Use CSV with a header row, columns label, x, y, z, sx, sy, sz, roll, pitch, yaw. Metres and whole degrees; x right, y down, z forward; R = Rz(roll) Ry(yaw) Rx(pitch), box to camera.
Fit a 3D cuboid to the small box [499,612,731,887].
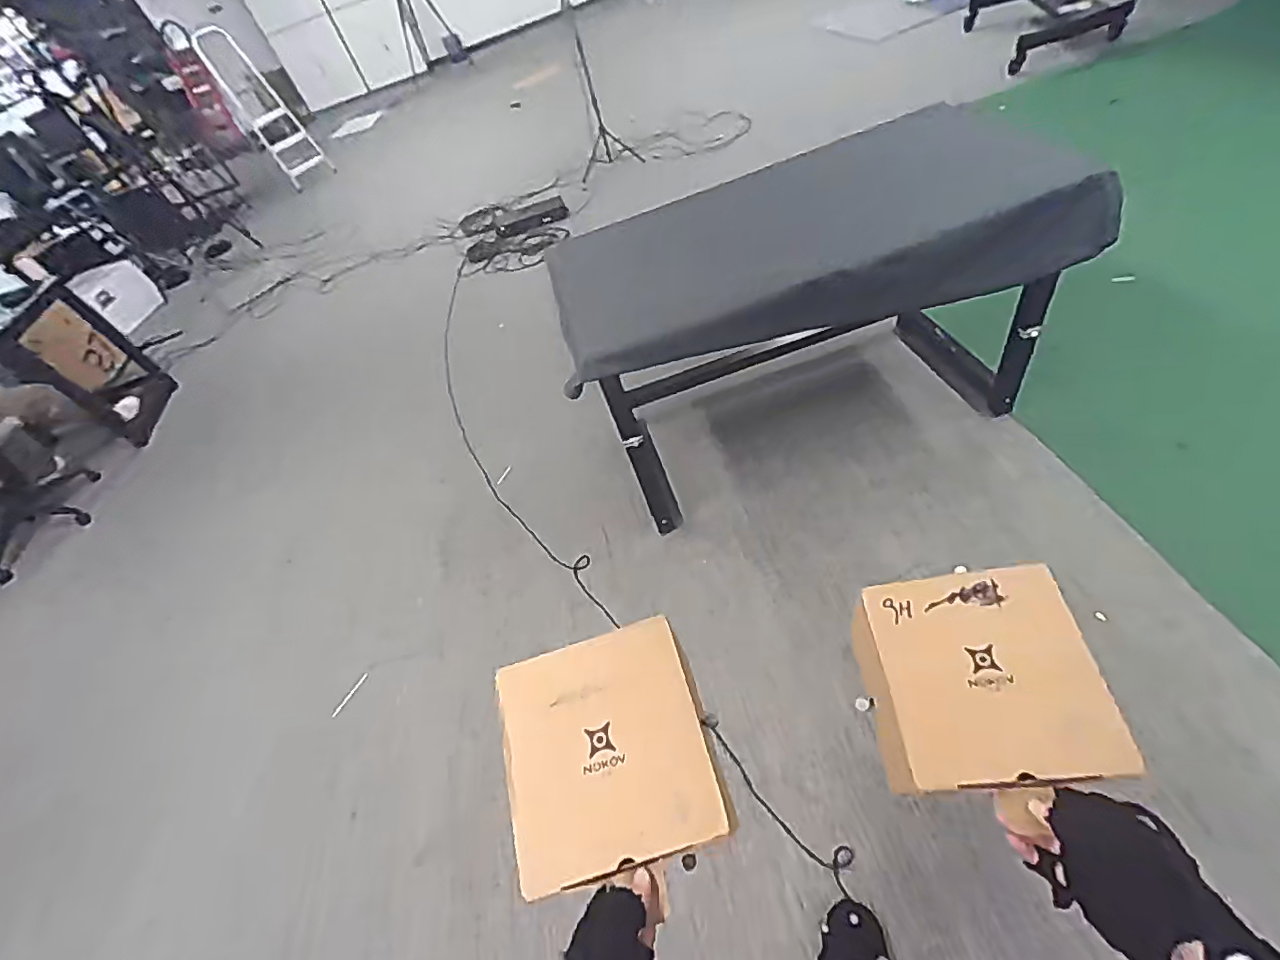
label,x,y,z,sx,sy,sz,roll,pitch,yaw
small box,-0.017,0.255,0.523,0.168,0.176,0.179,-19,58,0
